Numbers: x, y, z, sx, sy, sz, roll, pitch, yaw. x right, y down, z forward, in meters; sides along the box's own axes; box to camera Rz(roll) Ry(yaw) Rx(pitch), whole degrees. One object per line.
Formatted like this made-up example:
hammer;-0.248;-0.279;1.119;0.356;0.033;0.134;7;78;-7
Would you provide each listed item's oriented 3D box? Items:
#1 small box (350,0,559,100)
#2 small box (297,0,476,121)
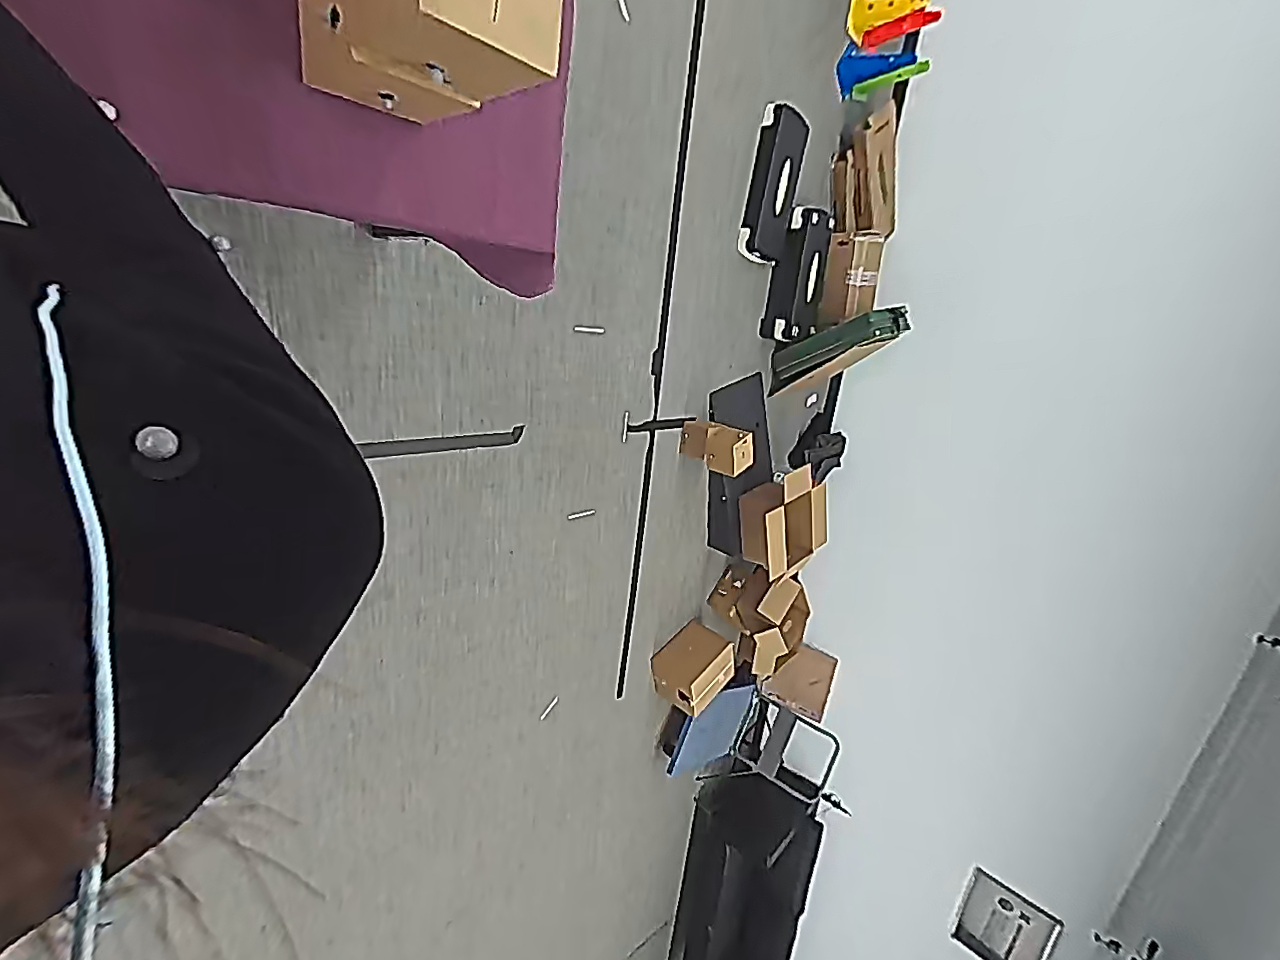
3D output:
small box;-0.205;-0.557;0.596;0.168;0.176;0.179;-11;115;-46
small box;-0.326;-0.595;0.701;0.168;0.176;0.179;-12;116;-47
